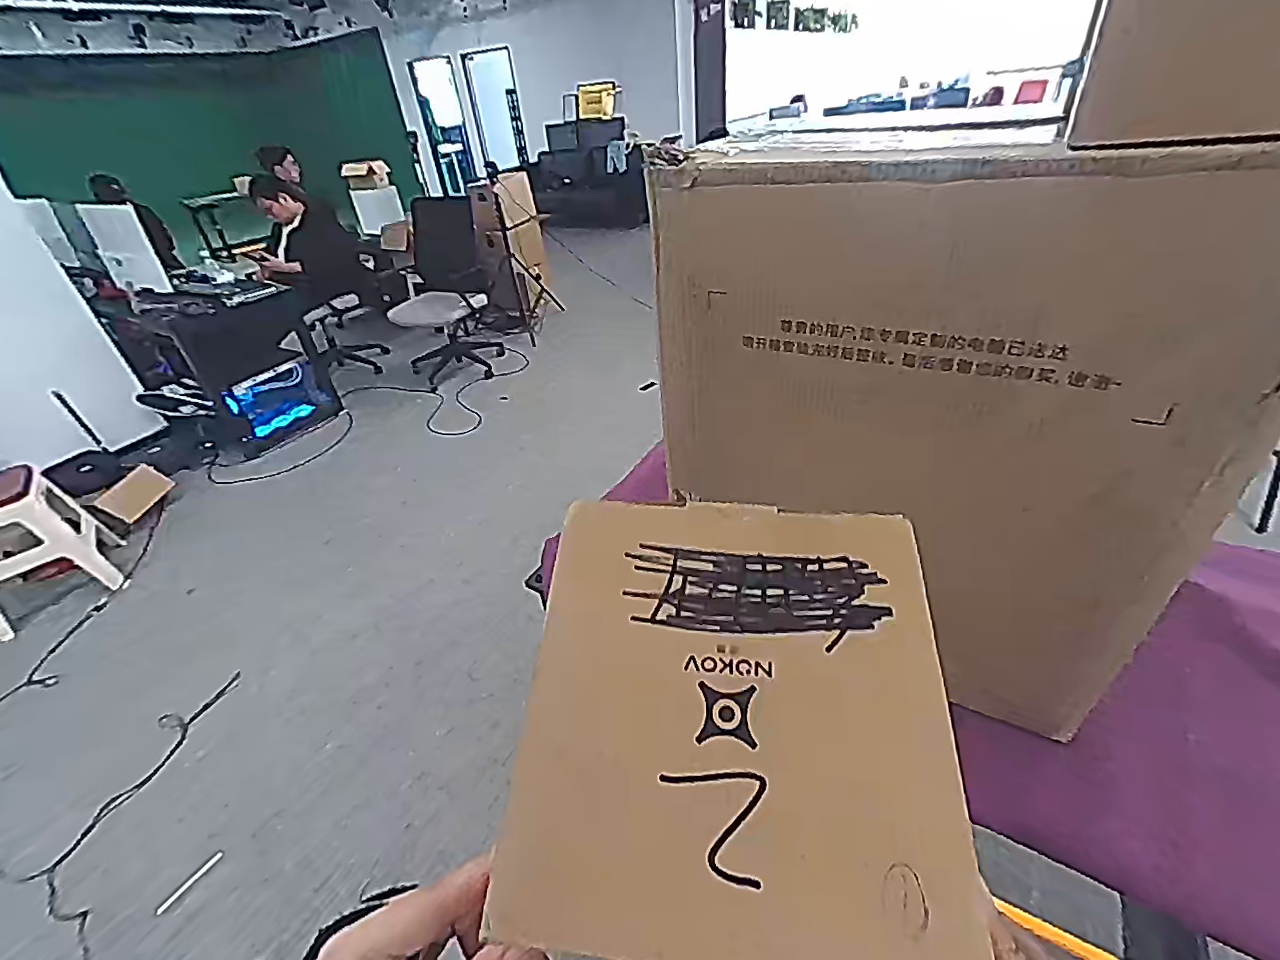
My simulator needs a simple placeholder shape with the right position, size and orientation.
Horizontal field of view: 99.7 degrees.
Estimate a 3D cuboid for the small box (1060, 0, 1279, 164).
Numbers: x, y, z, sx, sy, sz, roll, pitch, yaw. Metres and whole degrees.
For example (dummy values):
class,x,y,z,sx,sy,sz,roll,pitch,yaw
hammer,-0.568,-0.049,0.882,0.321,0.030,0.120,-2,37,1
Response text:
class,x,y,z,sx,sy,sz,roll,pitch,yaw
small box,0.394,-0.313,0.344,0.168,0.176,0.179,16,41,29
